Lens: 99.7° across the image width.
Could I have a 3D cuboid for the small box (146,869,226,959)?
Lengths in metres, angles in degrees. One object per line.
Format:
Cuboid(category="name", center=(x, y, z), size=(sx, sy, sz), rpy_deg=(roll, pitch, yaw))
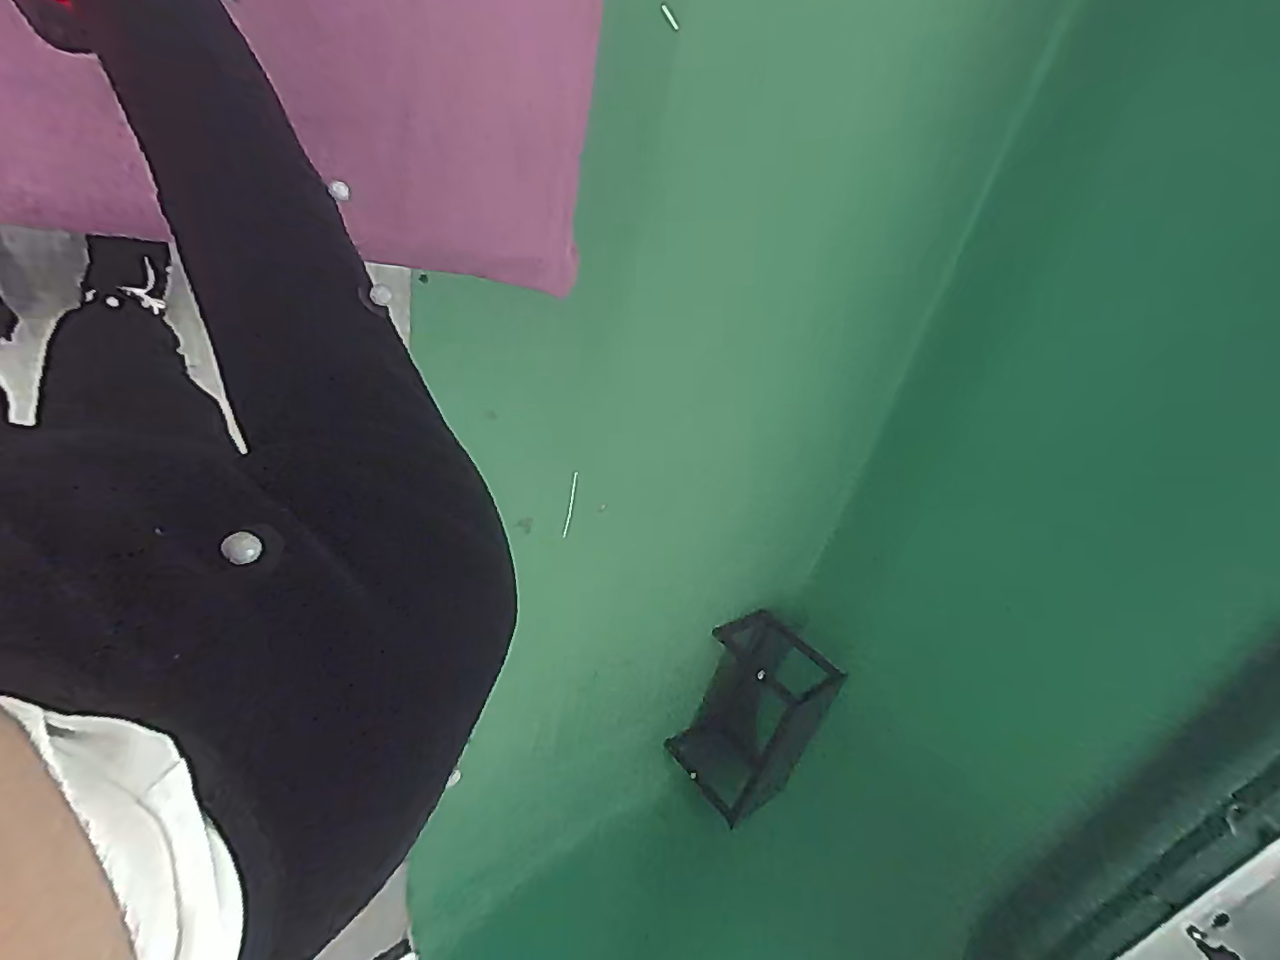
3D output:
Cuboid(category="small box", center=(-1.395, 1.356, 1.664), size=(0.168, 0.176, 0.179), rpy_deg=(-12, 128, -39))
